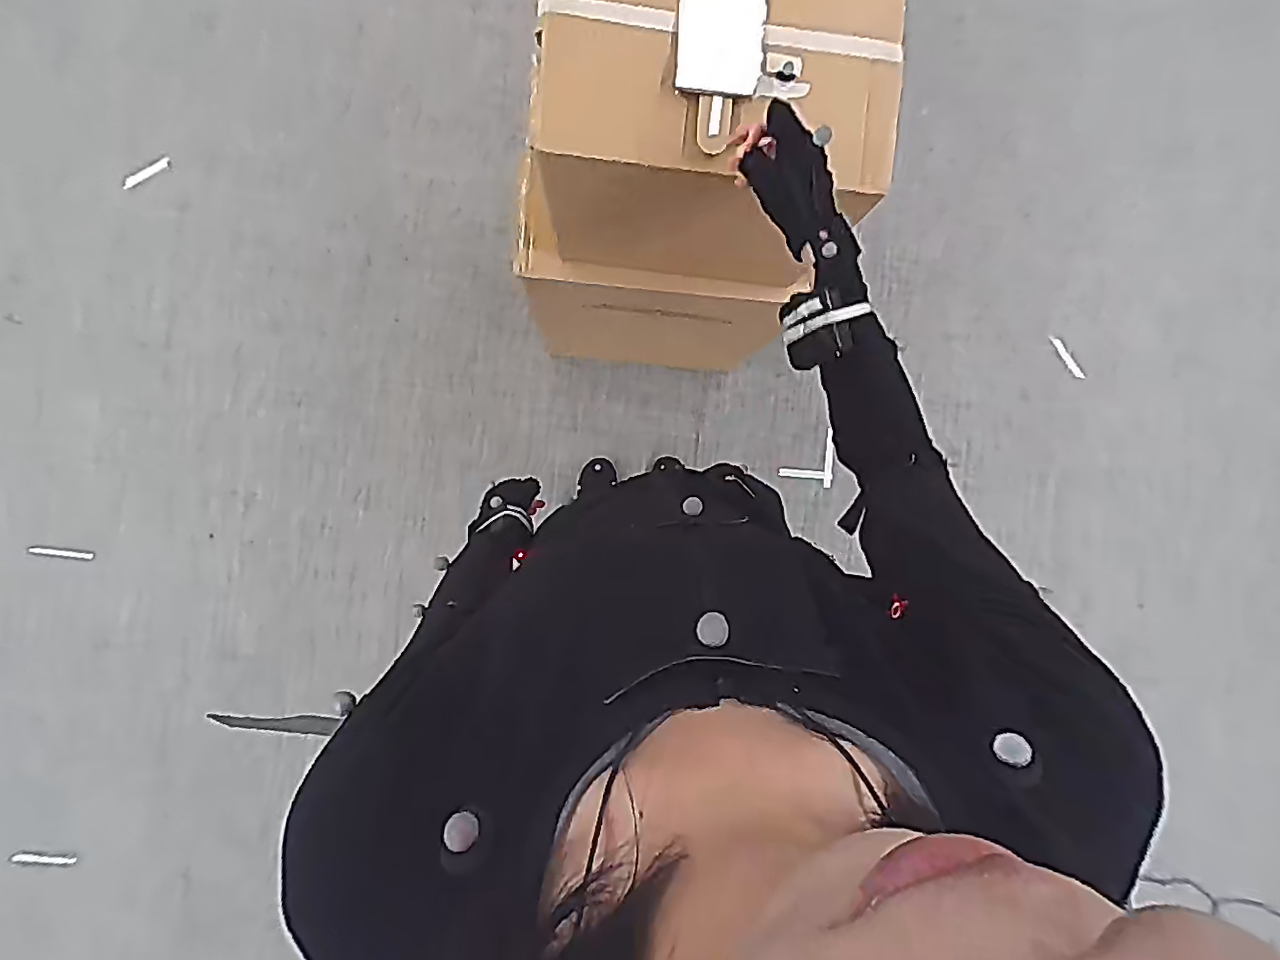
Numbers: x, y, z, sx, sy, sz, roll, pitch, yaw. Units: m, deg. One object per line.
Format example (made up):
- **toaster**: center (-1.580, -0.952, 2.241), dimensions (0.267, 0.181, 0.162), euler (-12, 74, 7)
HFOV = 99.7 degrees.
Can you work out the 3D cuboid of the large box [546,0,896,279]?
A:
- **large box**: center (0.085, -0.506, 0.767), dimensions (0.408, 0.320, 0.320), euler (4, 91, -5)
